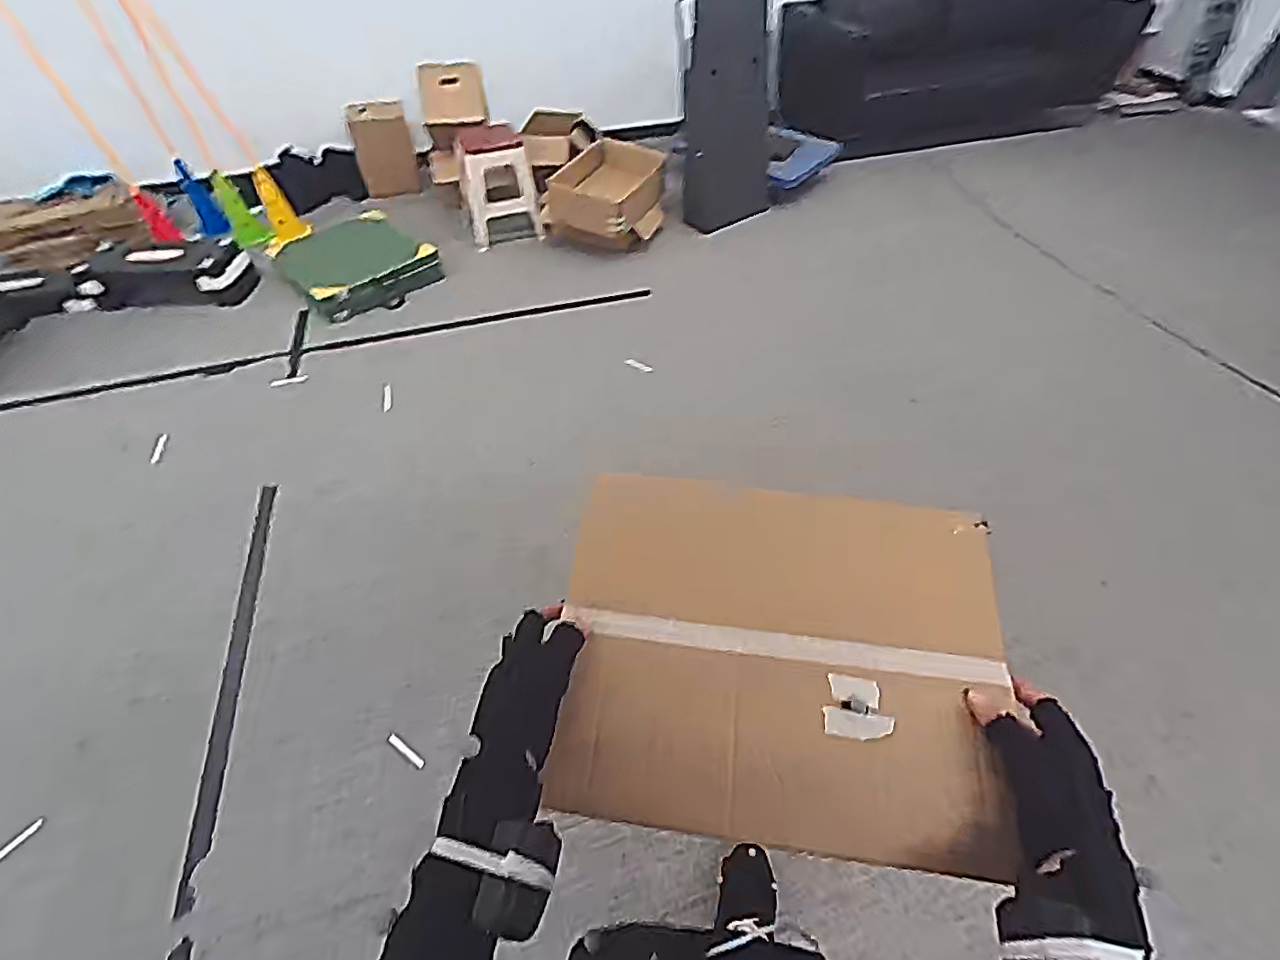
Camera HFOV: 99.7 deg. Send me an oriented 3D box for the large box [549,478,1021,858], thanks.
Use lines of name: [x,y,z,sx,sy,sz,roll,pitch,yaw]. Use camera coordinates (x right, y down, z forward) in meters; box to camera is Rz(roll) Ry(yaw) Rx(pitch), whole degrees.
large box: [0.134,0.218,0.650,0.408,0.320,0.320,7,65,4]
